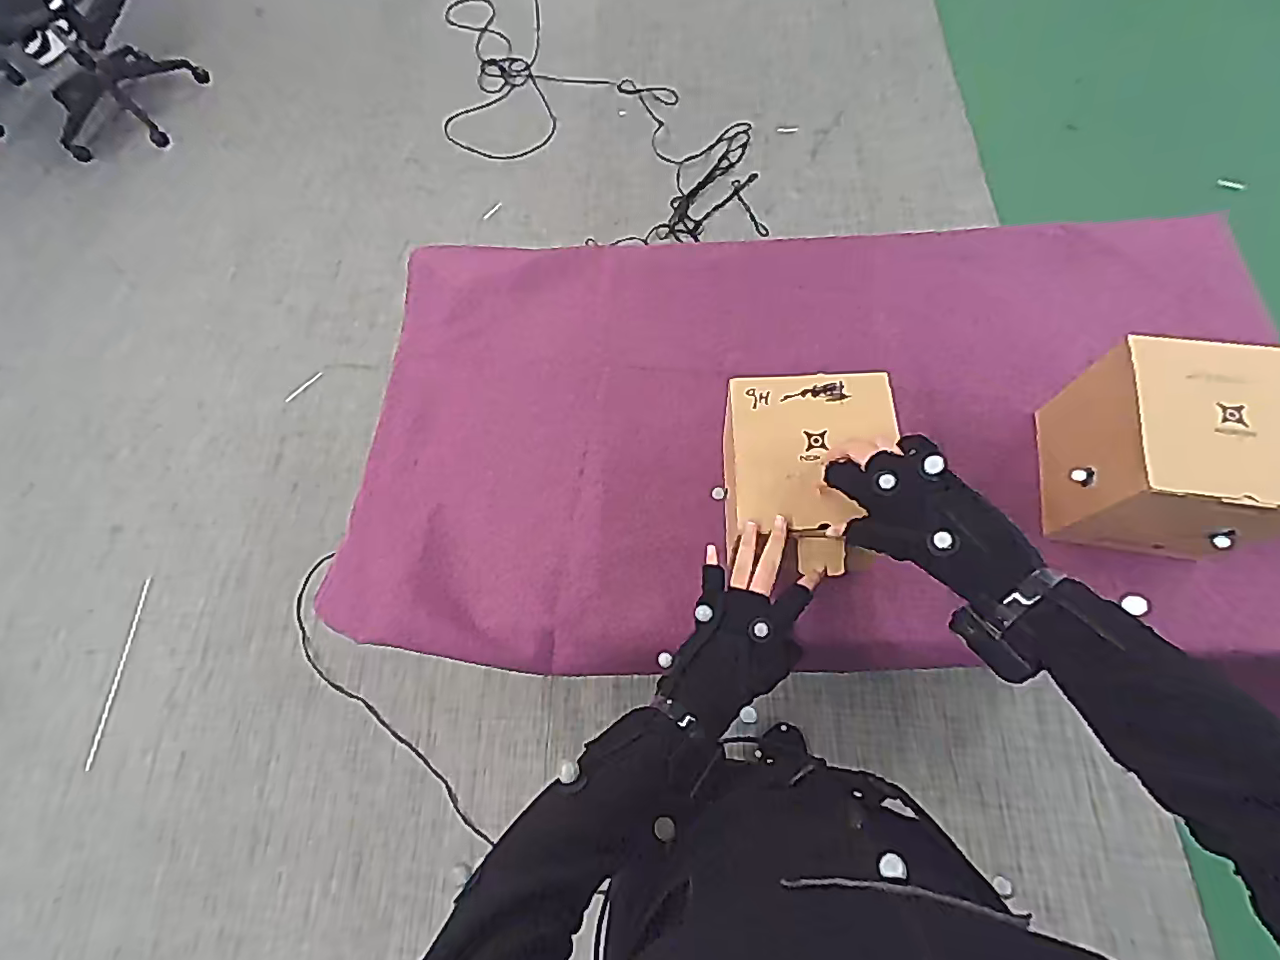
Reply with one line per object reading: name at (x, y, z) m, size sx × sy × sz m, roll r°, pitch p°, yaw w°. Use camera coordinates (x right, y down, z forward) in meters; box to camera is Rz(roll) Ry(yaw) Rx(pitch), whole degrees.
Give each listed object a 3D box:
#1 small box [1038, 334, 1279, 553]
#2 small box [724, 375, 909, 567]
small box at (0.568, -0.030, 0.586) m, size 0.168 × 0.176 × 0.179 m, roll 9°, pitch 70°, yaw 10°
small box at (0.184, 0.000, 0.618) m, size 0.168 × 0.176 × 0.179 m, roll -1°, pitch 69°, yaw 6°
